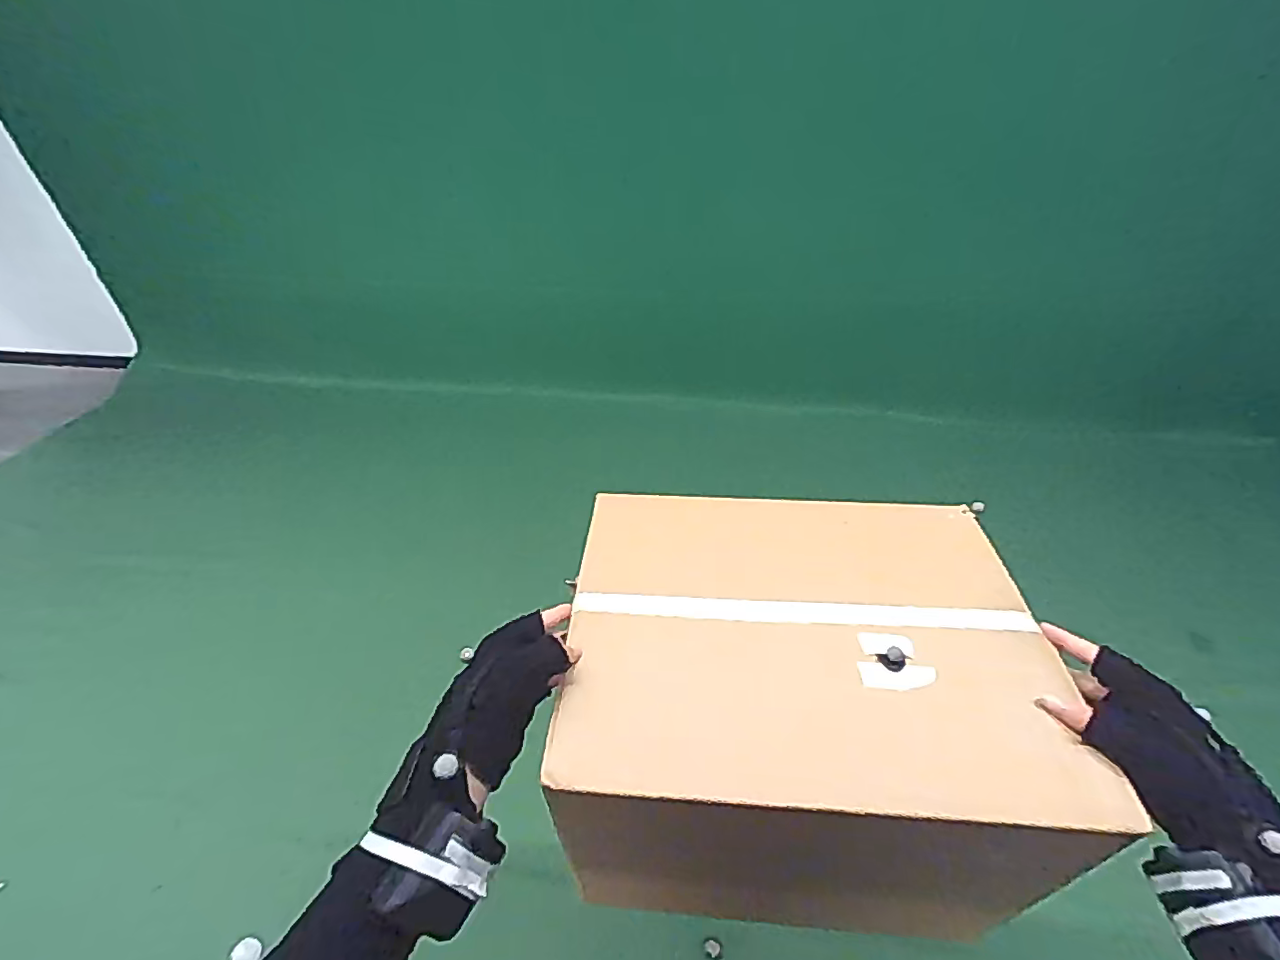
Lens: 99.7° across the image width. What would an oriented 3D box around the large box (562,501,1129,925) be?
[{"bbox_3d":[0.149,0.241,0.586,0.408,0.320,0.320,2,40,4],"label":"large box"}]
